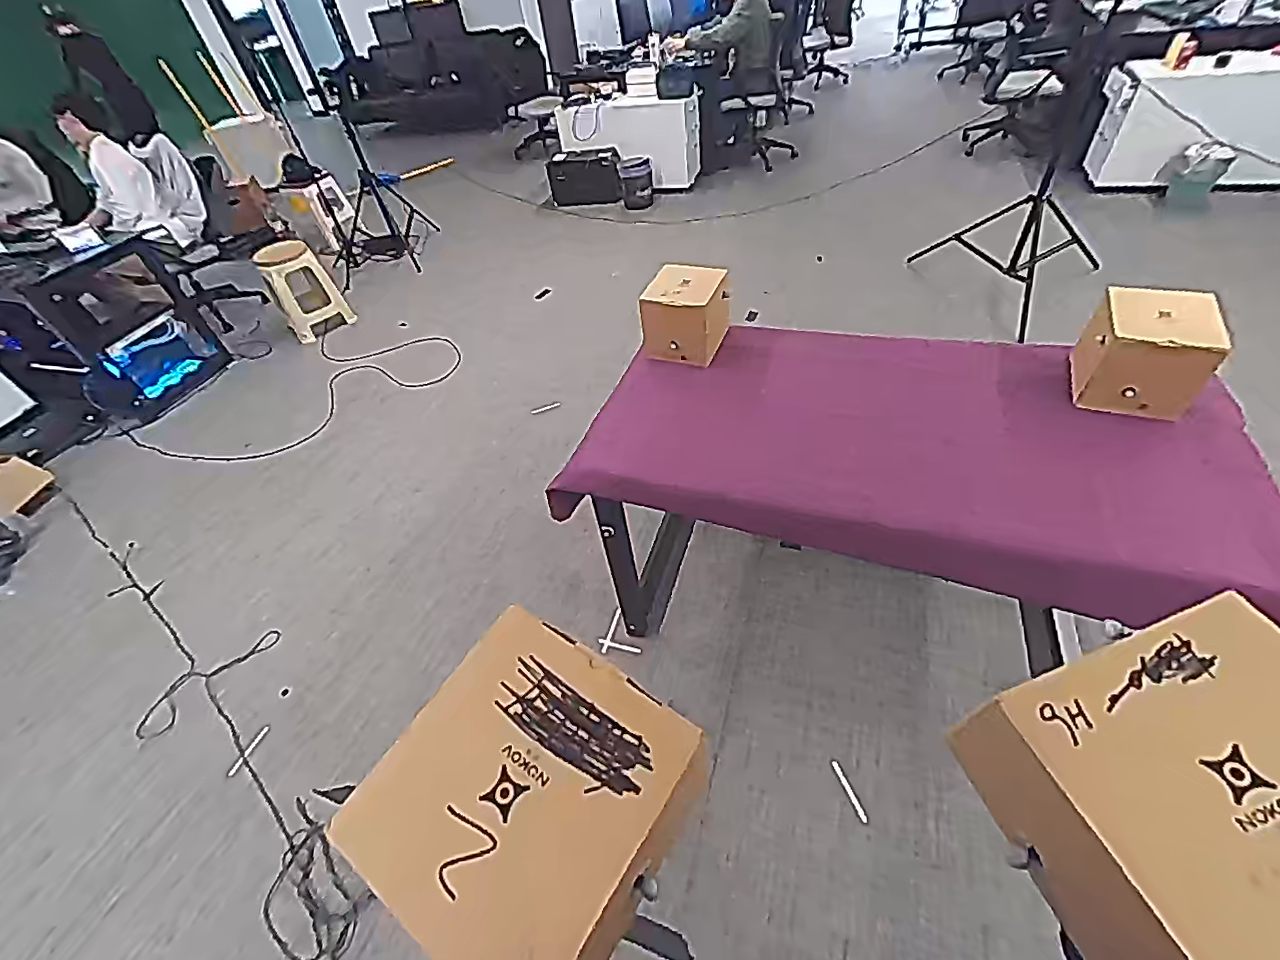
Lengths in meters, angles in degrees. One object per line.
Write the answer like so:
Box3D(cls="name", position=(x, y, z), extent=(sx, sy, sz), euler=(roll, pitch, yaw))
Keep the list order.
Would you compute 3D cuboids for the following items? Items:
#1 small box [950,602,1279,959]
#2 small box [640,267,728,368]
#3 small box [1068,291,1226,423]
Box3D(cls="small box", position=(0.346, 0.213, 0.357), extent=(0.168, 0.176, 0.179), euler=(-24, 54, 0))
Box3D(cls="small box", position=(0.113, -0.404, 1.342), extent=(0.168, 0.176, 0.179), euler=(13, 52, 21))
Box3D(cls="small box", position=(0.967, -0.240, 1.054), extent=(0.168, 0.176, 0.179), euler=(14, 54, 21))
